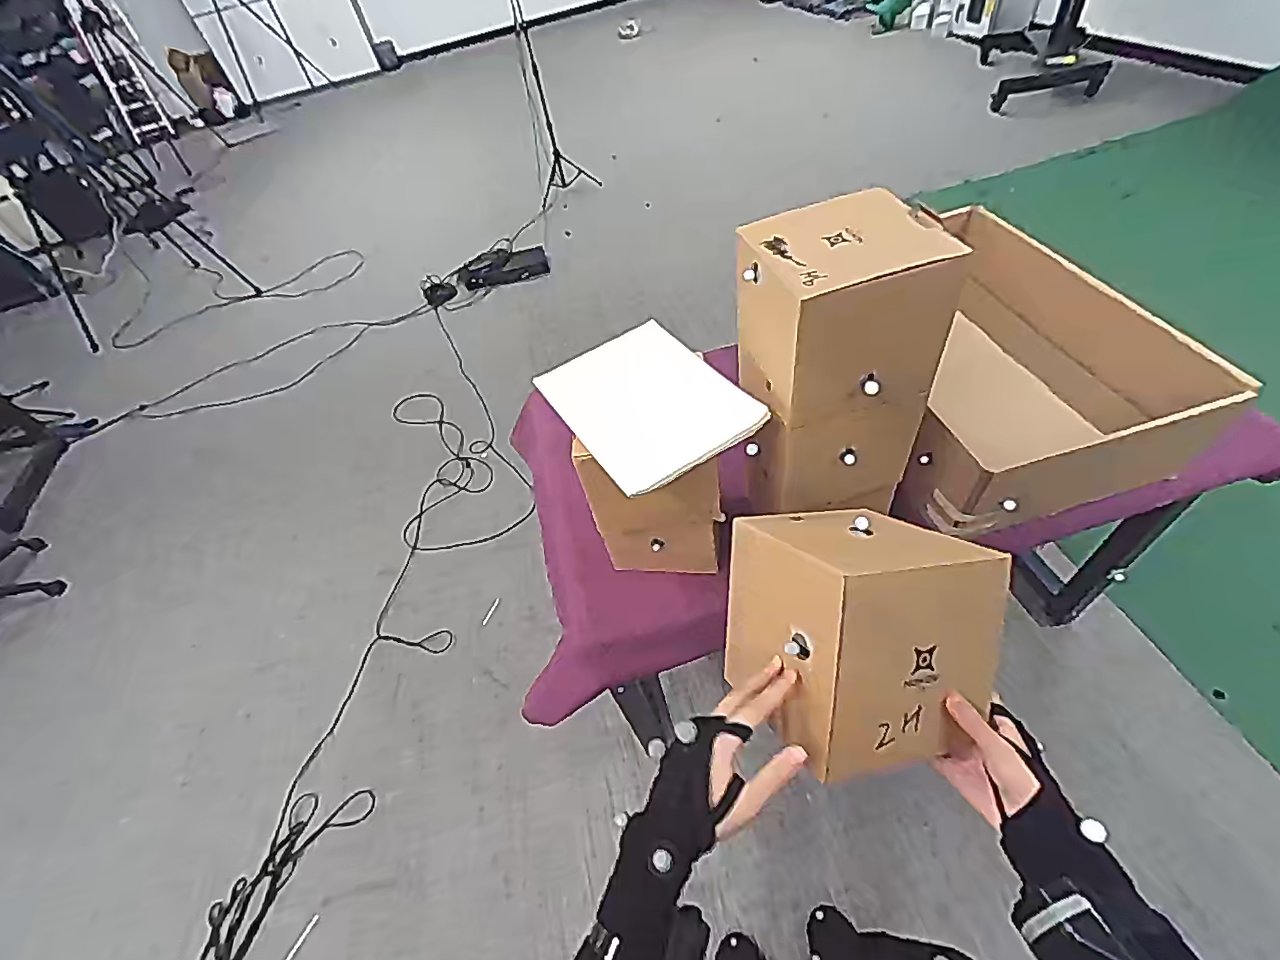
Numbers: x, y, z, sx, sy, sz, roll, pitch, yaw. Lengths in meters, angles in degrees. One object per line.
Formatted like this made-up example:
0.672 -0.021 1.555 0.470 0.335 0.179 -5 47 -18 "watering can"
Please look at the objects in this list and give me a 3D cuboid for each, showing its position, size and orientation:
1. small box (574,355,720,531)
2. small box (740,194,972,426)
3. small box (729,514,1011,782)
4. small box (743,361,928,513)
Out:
0.017 -0.046 0.753 0.179 0.176 0.168 -8 50 7 "small box"
0.220 -0.188 0.608 0.179 0.176 0.168 -16 48 -3 "small box"
0.194 0.131 0.499 0.168 0.179 0.176 -2 11 -18 "small box"
0.246 -0.082 0.732 0.179 0.176 0.168 -16 48 -1 "small box"
